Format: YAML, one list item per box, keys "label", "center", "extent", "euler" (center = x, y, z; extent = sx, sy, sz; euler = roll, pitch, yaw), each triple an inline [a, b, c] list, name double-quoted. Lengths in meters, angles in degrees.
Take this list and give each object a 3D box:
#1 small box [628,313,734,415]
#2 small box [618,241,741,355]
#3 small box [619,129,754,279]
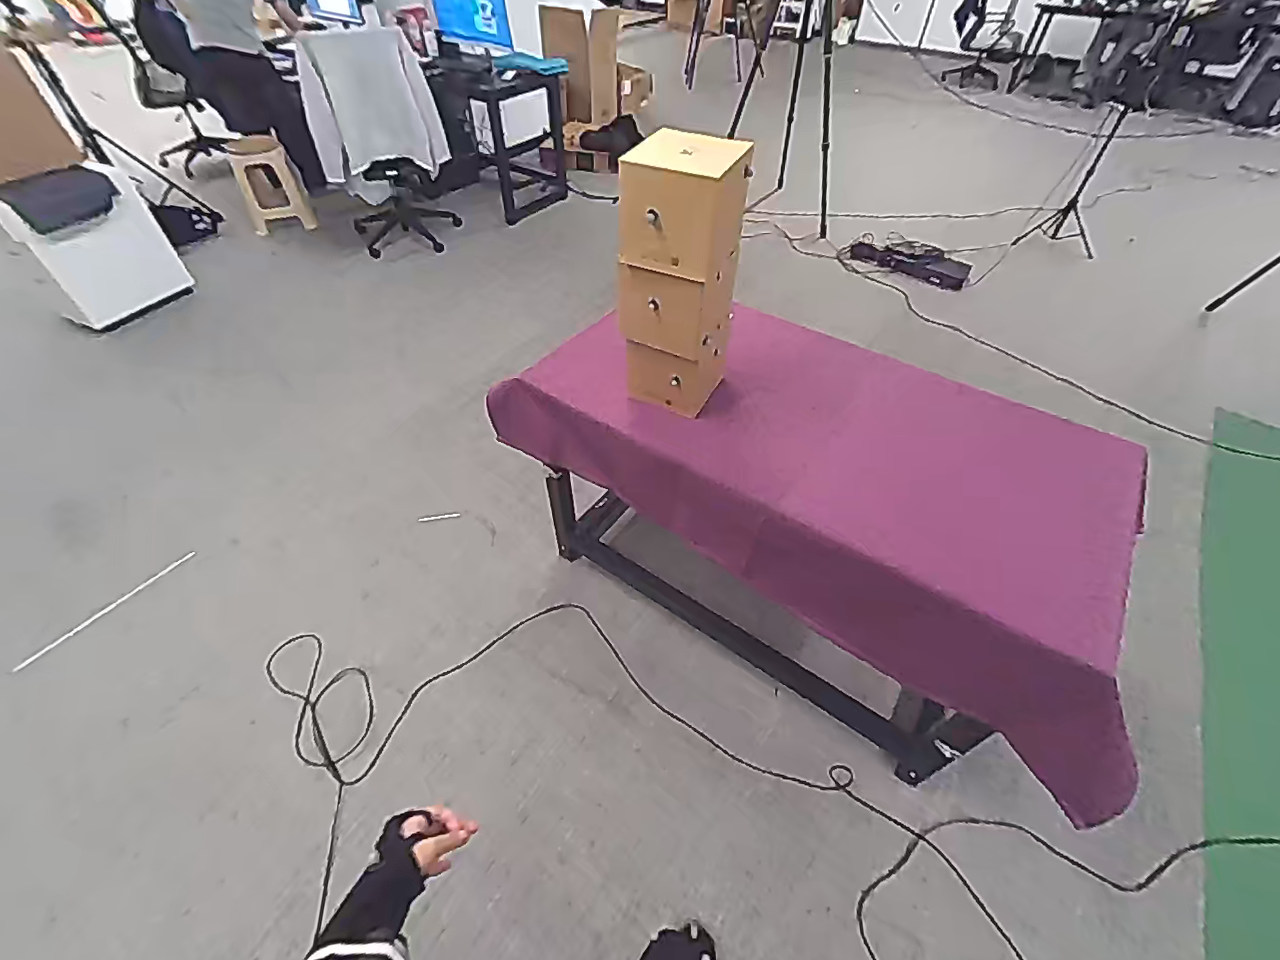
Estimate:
- label: "small box"
  center: [0.088, -0.269, 1.172]
  extent: [0.168, 0.176, 0.179]
  euler: [24, 51, 18]
- label: "small box"
  center: [0.073, -0.363, 1.037]
  extent: [0.179, 0.176, 0.168]
  euler: [23, 52, 18]
- label: "small box"
  center: [0.077, -0.461, 0.907]
  extent: [0.168, 0.176, 0.179]
  euler: [20, 50, 16]
